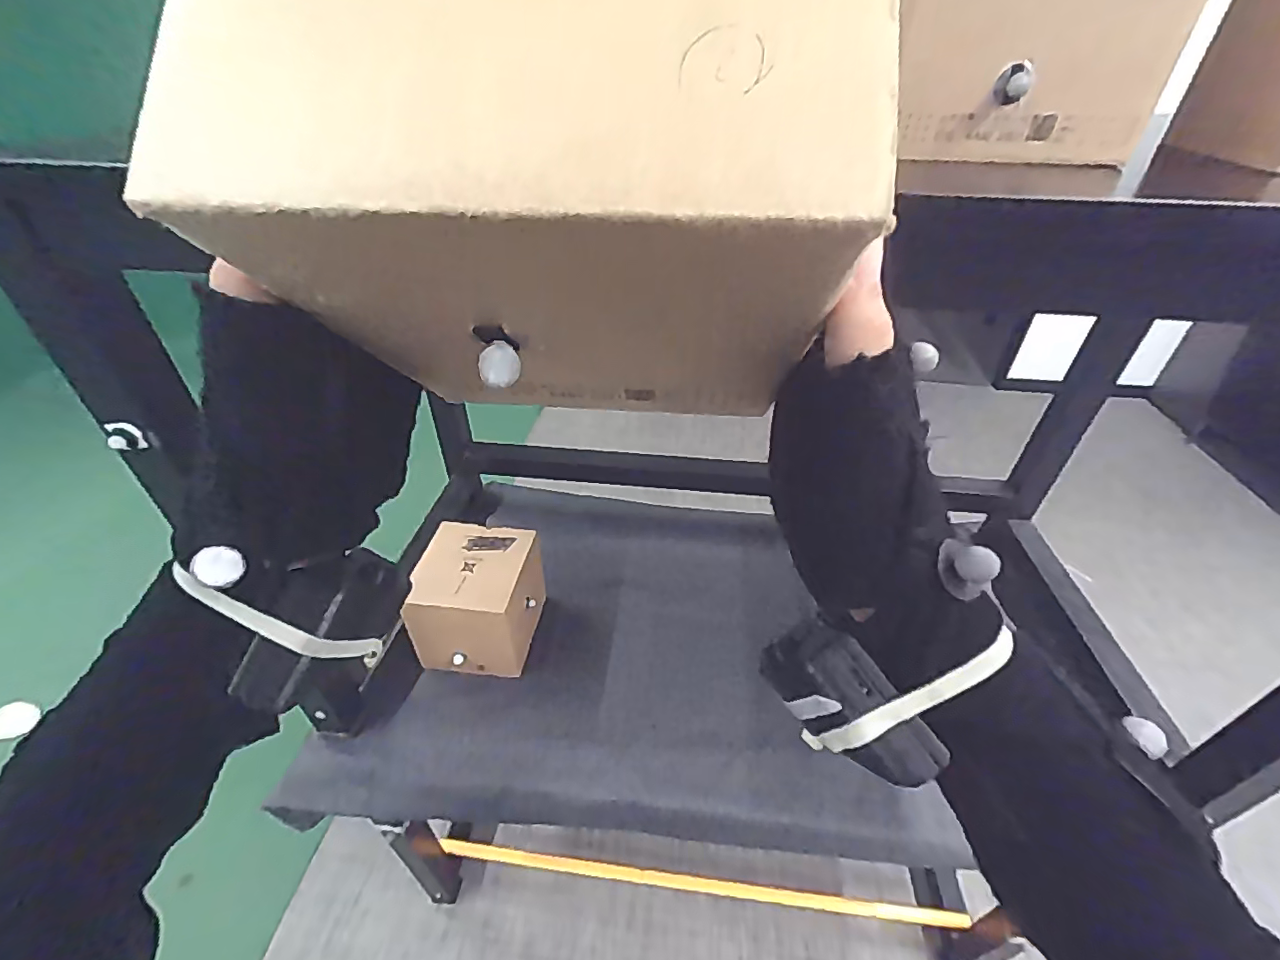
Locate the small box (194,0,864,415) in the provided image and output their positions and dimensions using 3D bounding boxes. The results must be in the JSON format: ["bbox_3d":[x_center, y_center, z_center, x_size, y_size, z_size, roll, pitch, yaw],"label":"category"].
[{"bbox_3d":[-0.018,-0.130,0.217,0.168,0.176,0.179,3,82,5],"label":"small box"}]

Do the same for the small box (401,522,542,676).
[{"bbox_3d":[-0.264,0.195,0.899,0.168,0.176,0.179,5,38,5],"label":"small box"}]

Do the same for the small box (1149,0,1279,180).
[{"bbox_3d":[0.488,-0.284,0.339,0.168,0.176,0.179,12,38,14],"label":"small box"}]
